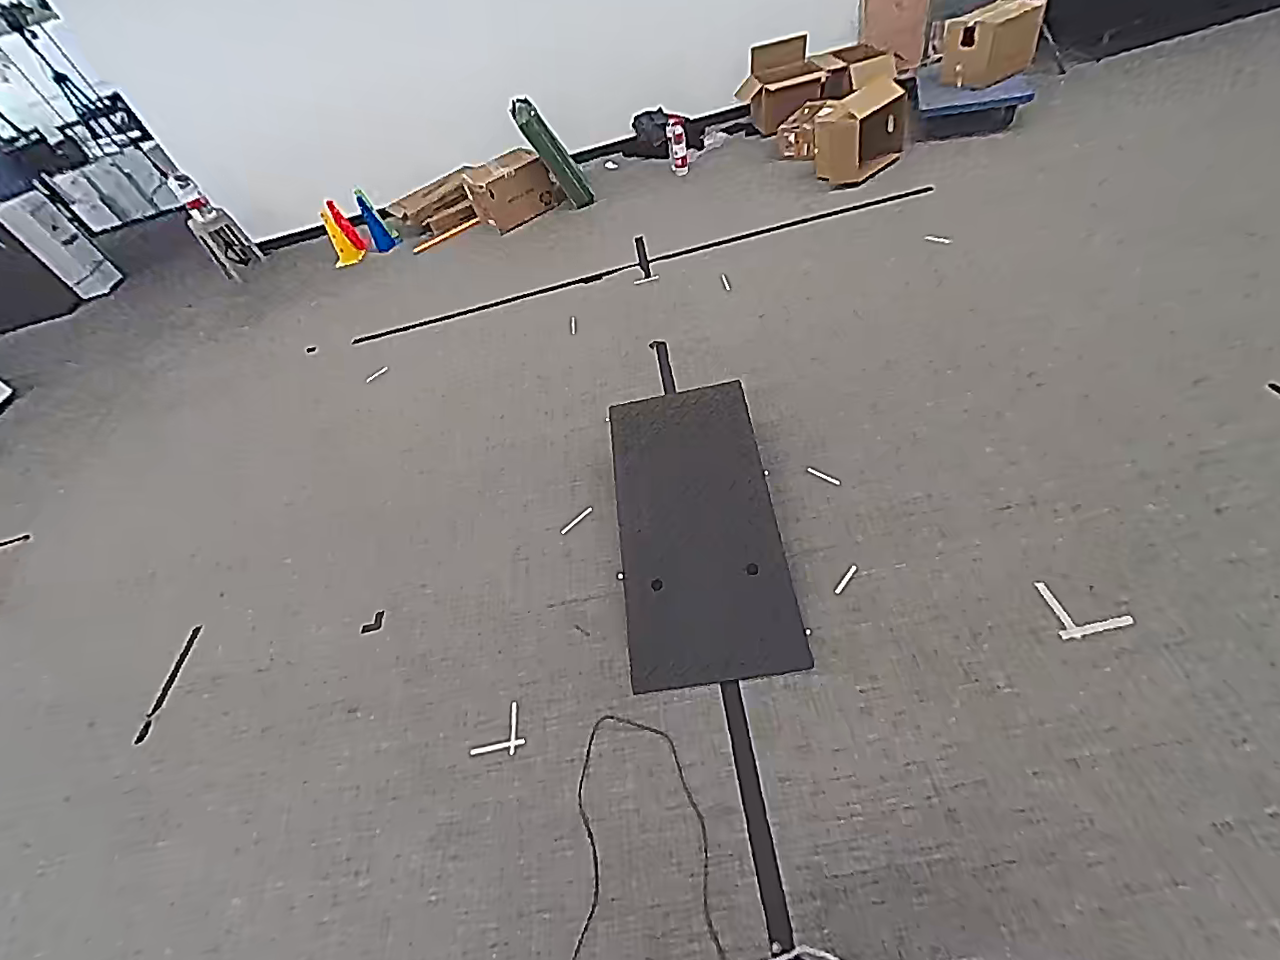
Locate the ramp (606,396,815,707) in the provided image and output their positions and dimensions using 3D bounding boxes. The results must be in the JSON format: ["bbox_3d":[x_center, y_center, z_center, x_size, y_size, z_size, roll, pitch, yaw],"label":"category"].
[{"bbox_3d":[0.172,0.159,1.720,0.509,0.206,0.991,-13,47,4],"label":"ramp"}]
